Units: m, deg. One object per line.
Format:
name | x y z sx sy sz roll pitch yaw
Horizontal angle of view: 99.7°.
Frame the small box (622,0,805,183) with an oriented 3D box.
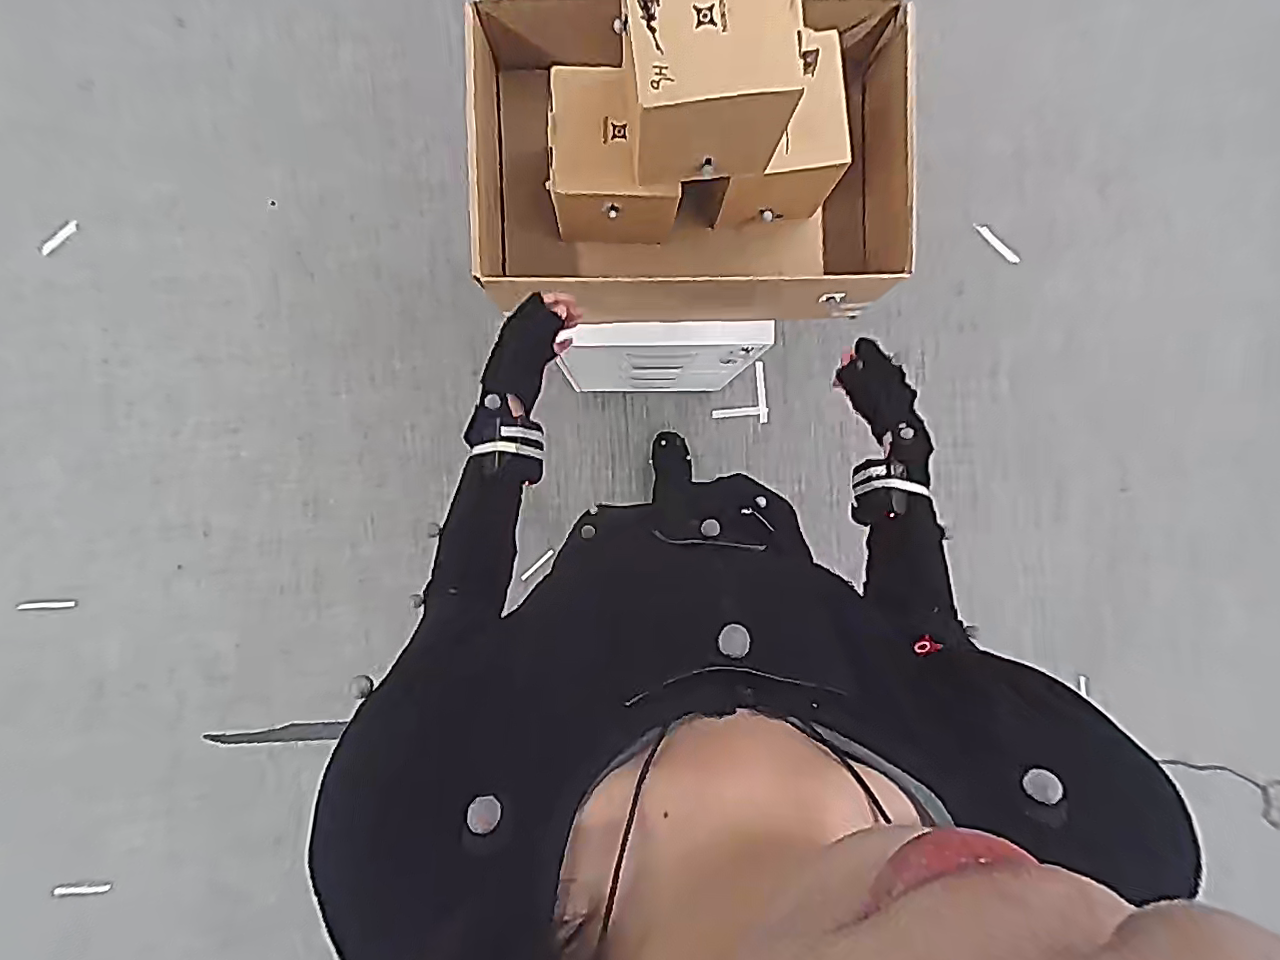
small box | 0.074 -0.476 0.633 0.179 0.176 0.168 -7 92 -1
